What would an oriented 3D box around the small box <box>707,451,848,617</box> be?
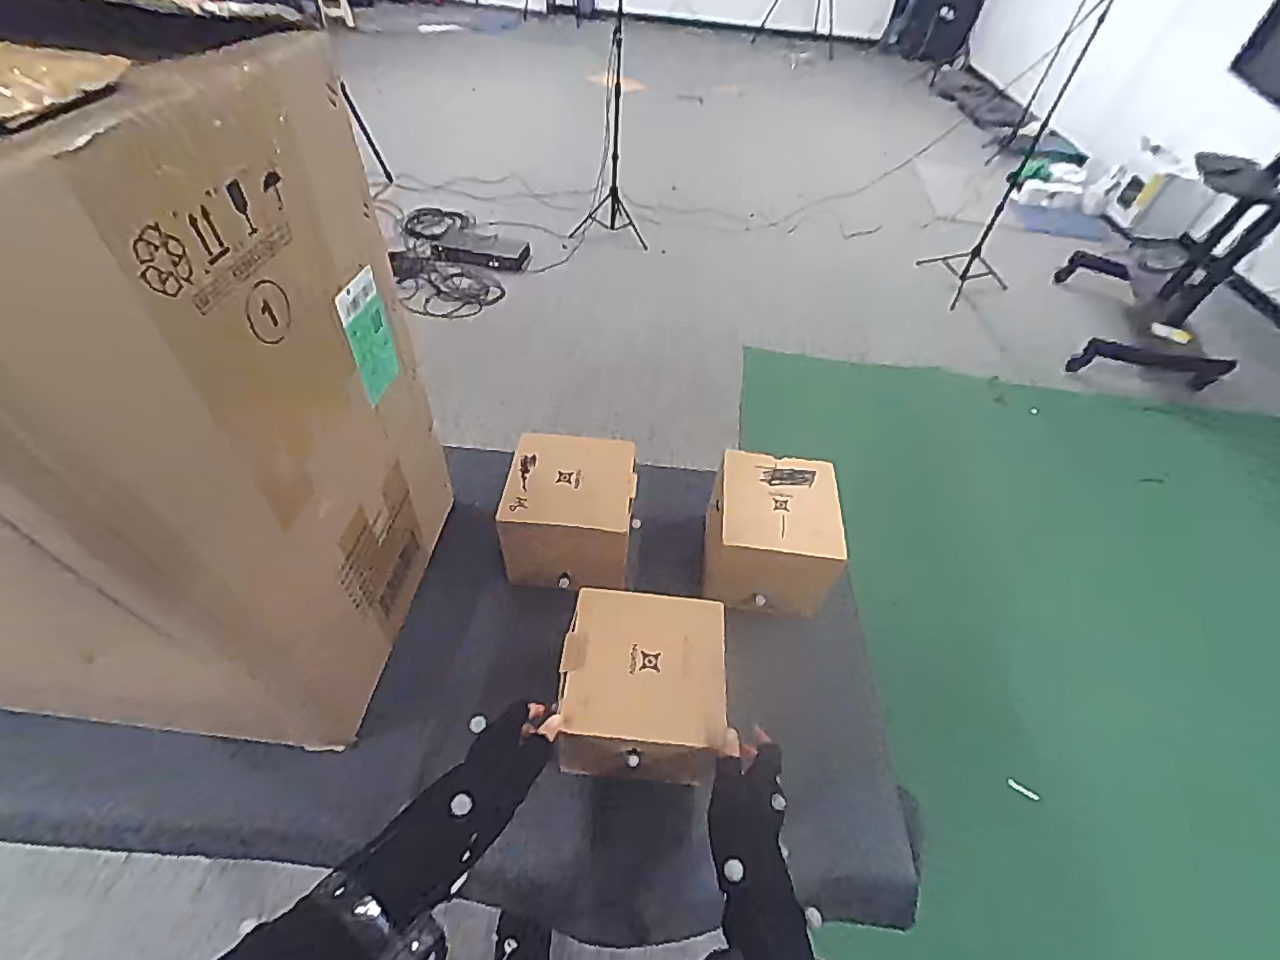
[{"bbox_3d":[0.197,0.084,0.823,0.168,0.176,0.179,8,50,2],"label":"small box"}]
